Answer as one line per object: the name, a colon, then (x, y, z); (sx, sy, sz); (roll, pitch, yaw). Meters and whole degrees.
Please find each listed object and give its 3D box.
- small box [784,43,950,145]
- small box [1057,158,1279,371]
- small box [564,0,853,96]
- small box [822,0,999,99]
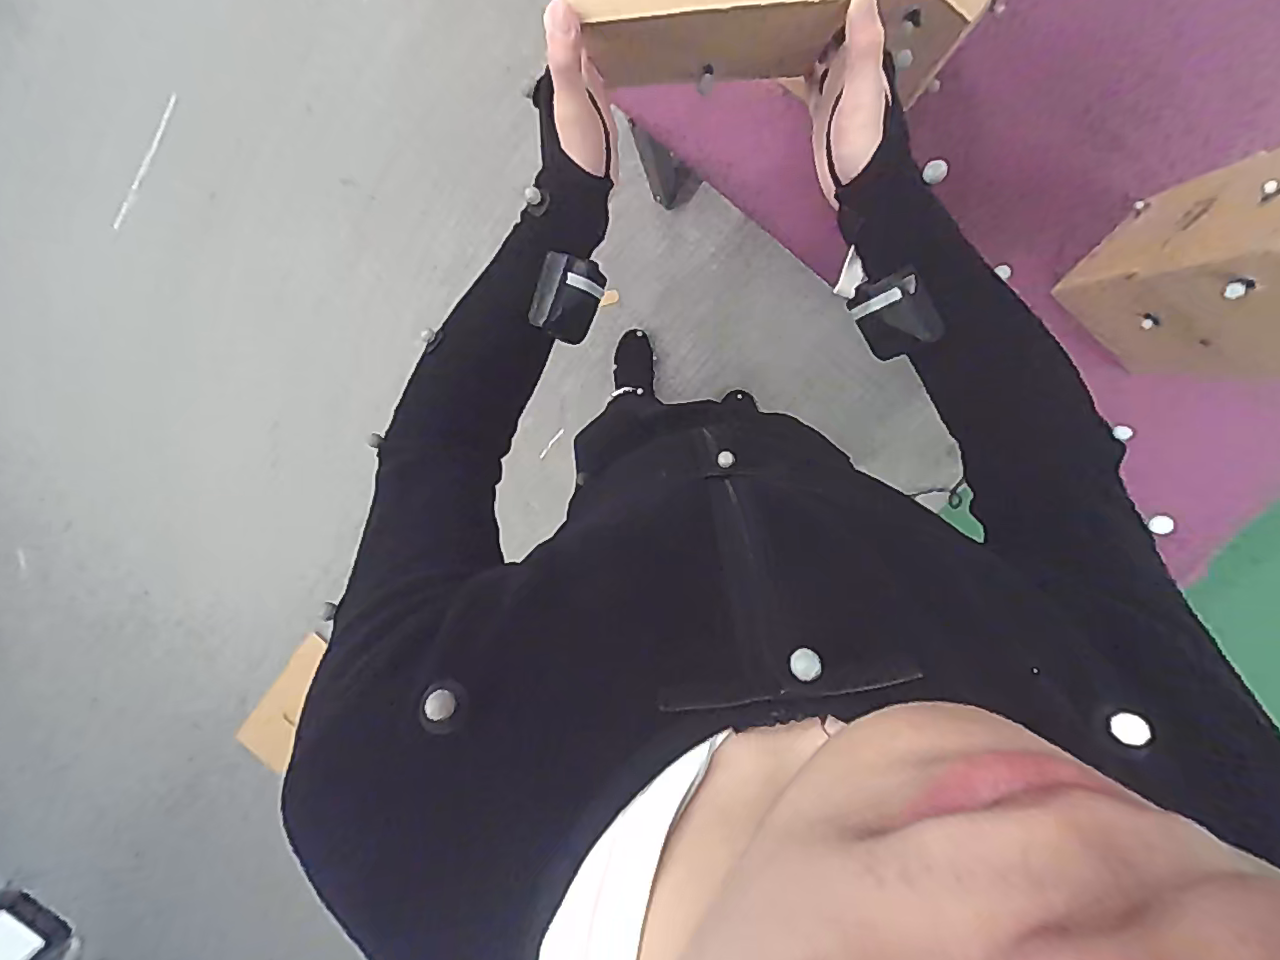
small box: (0.306, -0.563, 0.680); (0.179, 0.176, 0.168); (38, 104, 0)
small box: (0.697, -0.253, 0.687); (0.179, 0.176, 0.168); (42, 103, -2)
small box: (0.044, -0.384, 0.370); (0.179, 0.176, 0.168); (0, 113, 6)
small box: (0.278, -0.517, 0.523); (0.179, 0.176, 0.168); (39, 103, -1)
